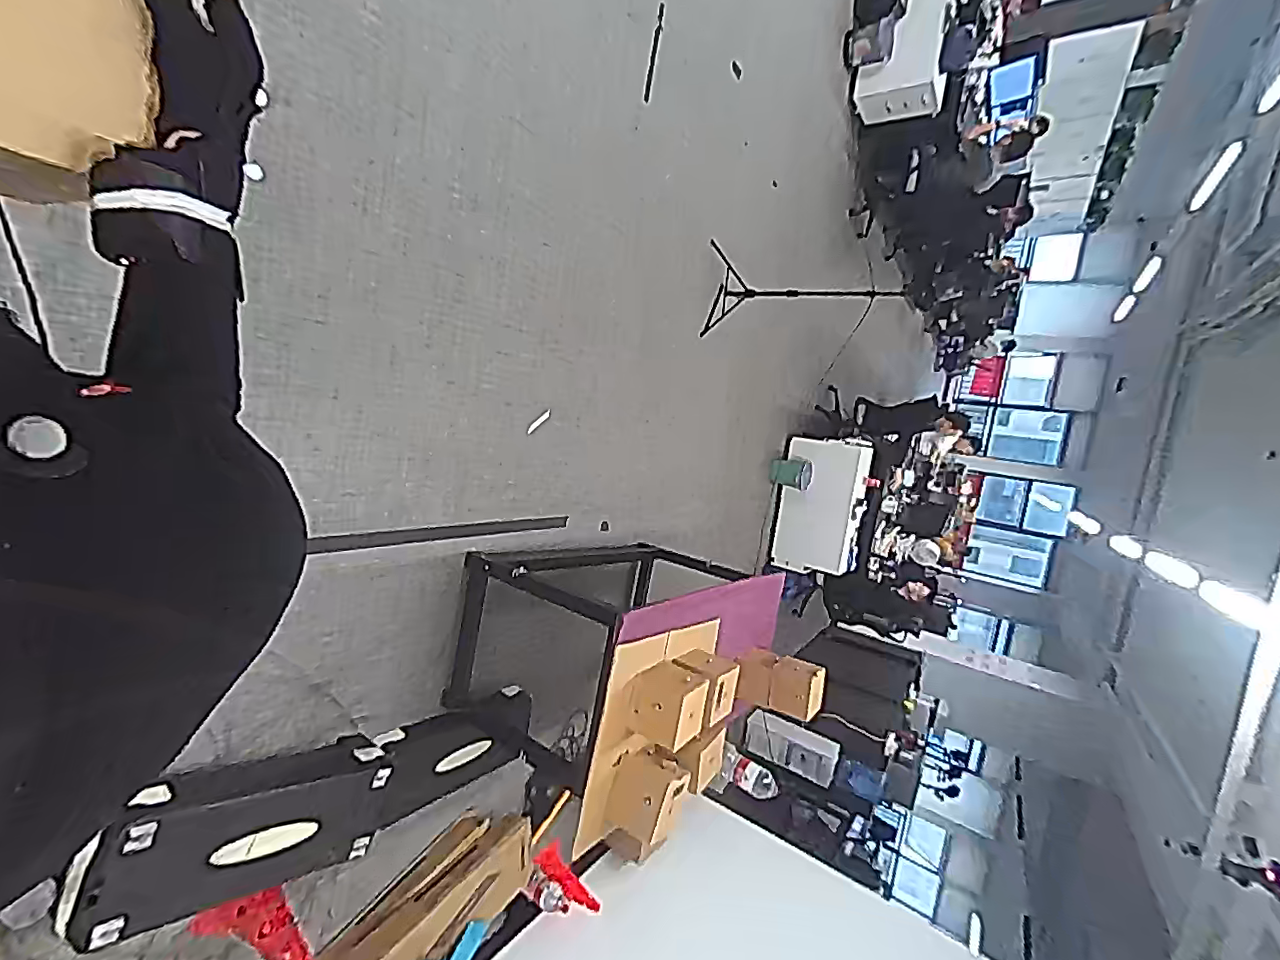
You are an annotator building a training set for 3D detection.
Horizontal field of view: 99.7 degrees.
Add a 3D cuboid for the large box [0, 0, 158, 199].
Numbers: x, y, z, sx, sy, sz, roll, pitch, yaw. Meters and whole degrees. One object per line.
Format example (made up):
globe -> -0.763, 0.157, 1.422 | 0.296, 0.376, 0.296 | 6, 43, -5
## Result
large box -> -0.576, -0.393, 0.294 | 0.408, 0.320, 0.320 | -3, 107, -60
